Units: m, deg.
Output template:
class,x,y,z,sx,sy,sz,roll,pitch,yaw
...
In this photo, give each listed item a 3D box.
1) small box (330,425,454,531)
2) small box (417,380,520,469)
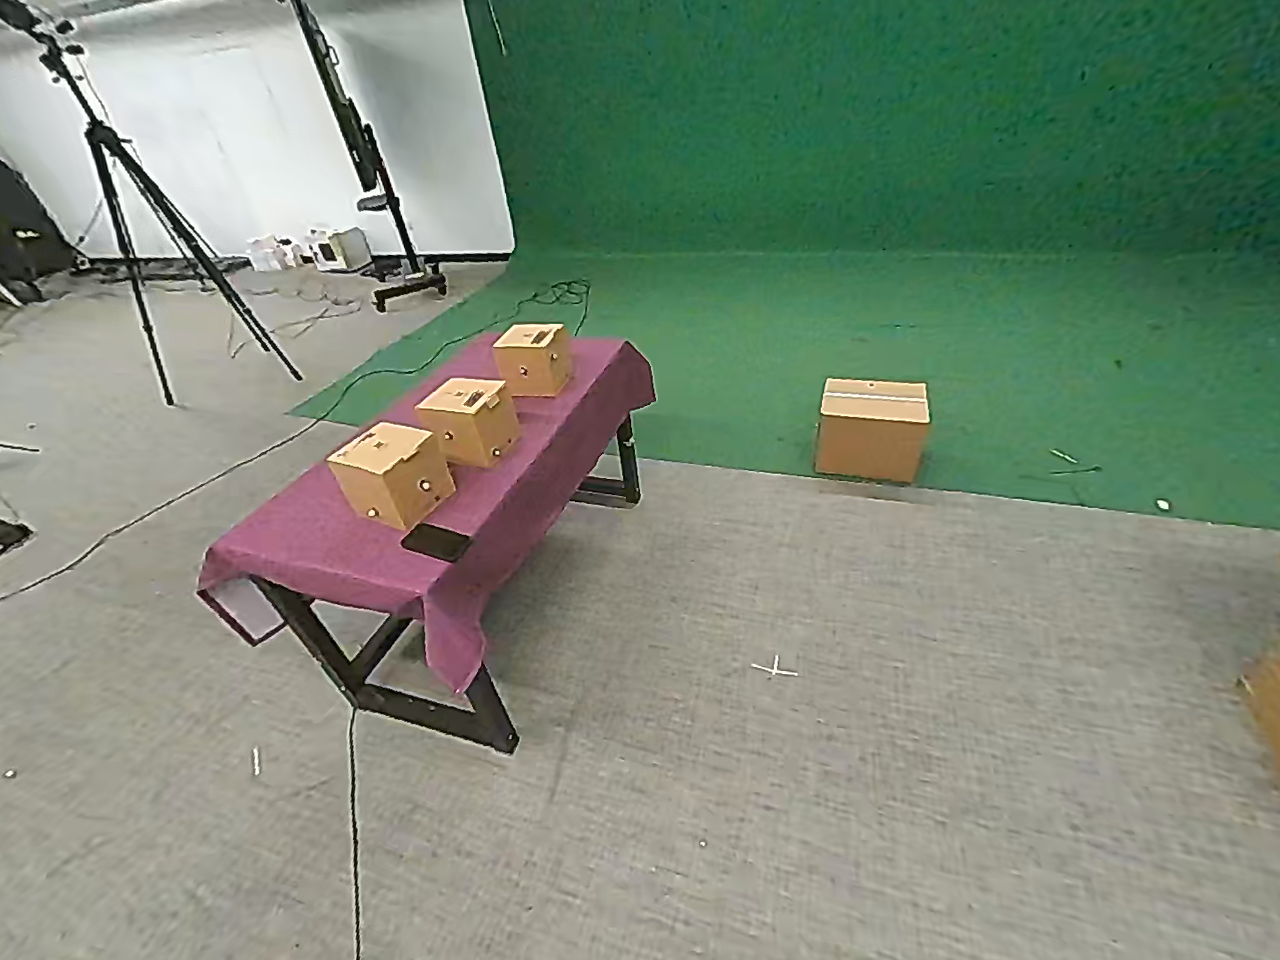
class,x,y,z,sx,sy,sz,roll,pitch,yaw
small box,-0.568,-0.003,1.263,0.179,0.176,0.168,13,42,24
small box,-0.442,-0.145,1.425,0.179,0.176,0.168,6,39,19
